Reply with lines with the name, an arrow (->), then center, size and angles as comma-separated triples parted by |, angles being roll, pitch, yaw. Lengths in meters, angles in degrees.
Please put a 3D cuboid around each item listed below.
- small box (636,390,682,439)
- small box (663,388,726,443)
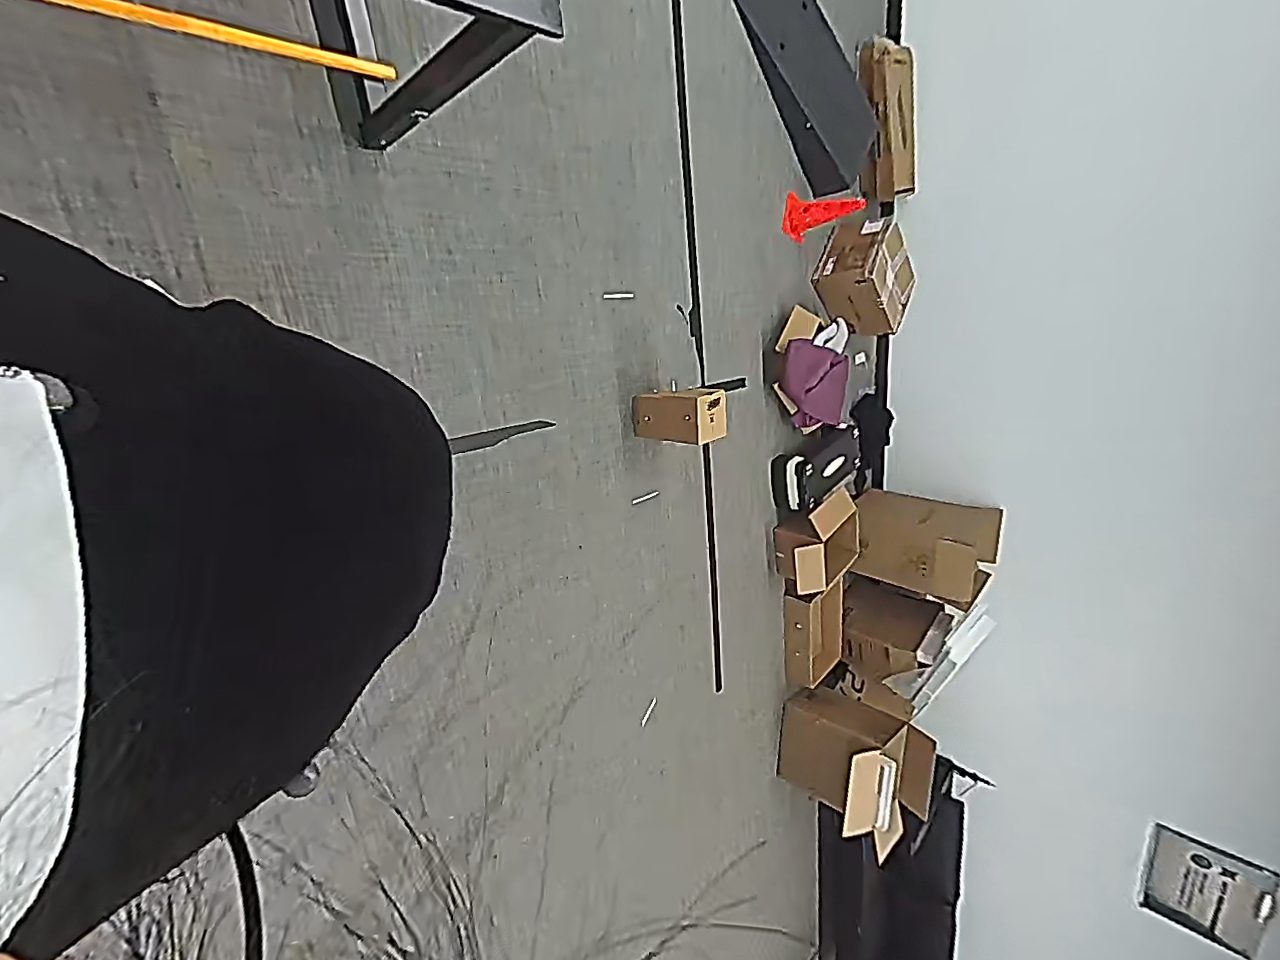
small box -> 0.096, -0.263, 2.132 | 0.179, 0.176, 0.168 | -18, 111, -41
small box -> 0.201, -0.243, 2.004 | 0.168, 0.176, 0.179 | -21, 114, -41
